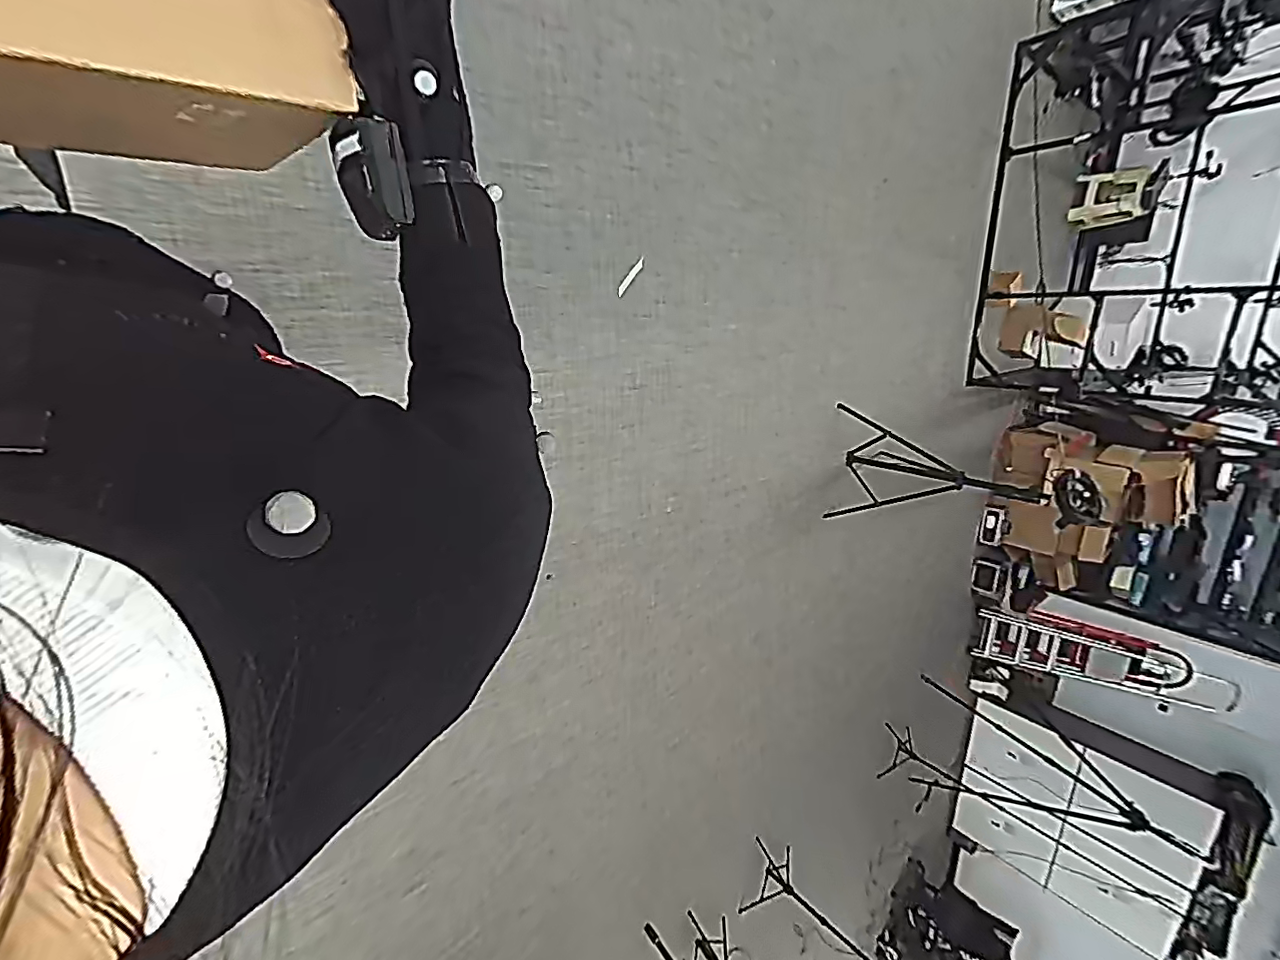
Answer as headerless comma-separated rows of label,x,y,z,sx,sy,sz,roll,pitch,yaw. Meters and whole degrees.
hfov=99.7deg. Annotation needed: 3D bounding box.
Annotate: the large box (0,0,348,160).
large box,-0.433,-0.372,0.268,0.408,0.320,0.320,-18,119,-39
